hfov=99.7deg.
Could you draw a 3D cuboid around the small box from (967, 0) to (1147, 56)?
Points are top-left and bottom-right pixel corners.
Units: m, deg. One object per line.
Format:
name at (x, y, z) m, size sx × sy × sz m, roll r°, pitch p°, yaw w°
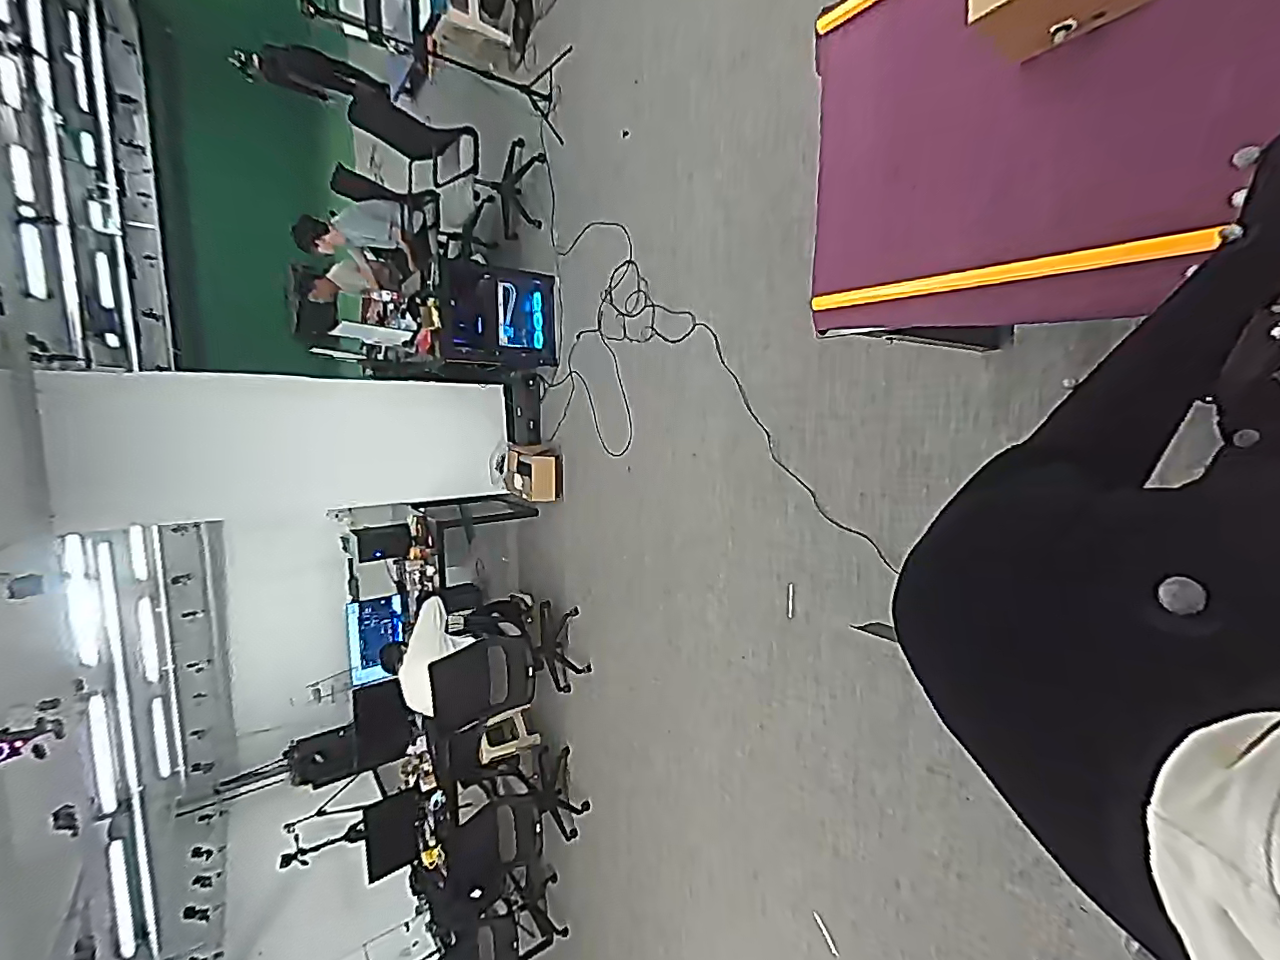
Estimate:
small box at (0.532, -0.685, 0.669) m, size 0.168 × 0.176 × 0.179 m, roll 6°, pitch 101°, yaw 54°
